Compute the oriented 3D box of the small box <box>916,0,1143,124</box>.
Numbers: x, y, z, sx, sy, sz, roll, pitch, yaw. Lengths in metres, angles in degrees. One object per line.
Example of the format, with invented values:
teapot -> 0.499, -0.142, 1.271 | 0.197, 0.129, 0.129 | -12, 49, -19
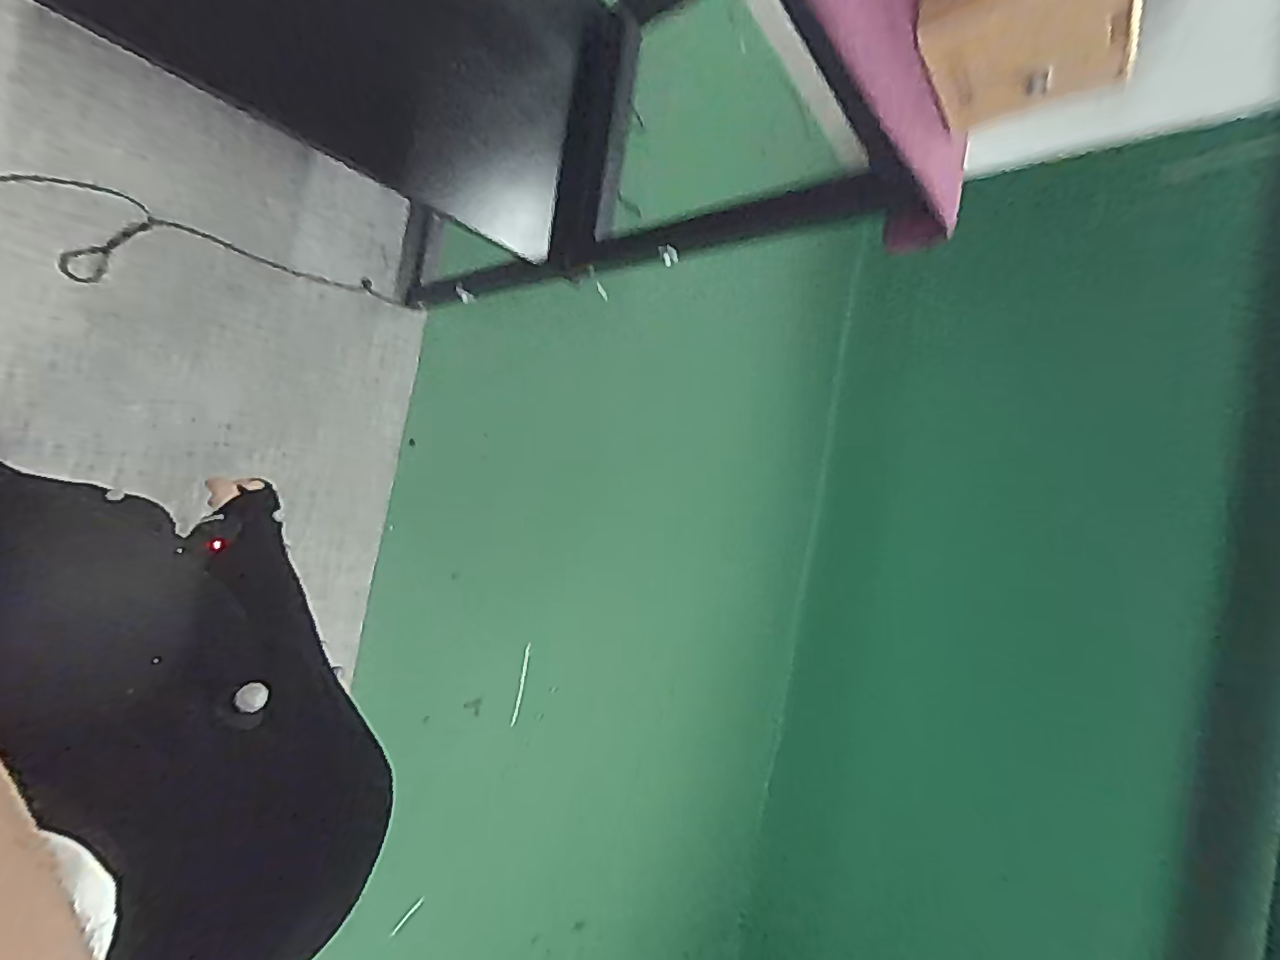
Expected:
small box -> 0.392, -0.508, 0.543 | 0.168, 0.176, 0.179 | 12, 85, -49
